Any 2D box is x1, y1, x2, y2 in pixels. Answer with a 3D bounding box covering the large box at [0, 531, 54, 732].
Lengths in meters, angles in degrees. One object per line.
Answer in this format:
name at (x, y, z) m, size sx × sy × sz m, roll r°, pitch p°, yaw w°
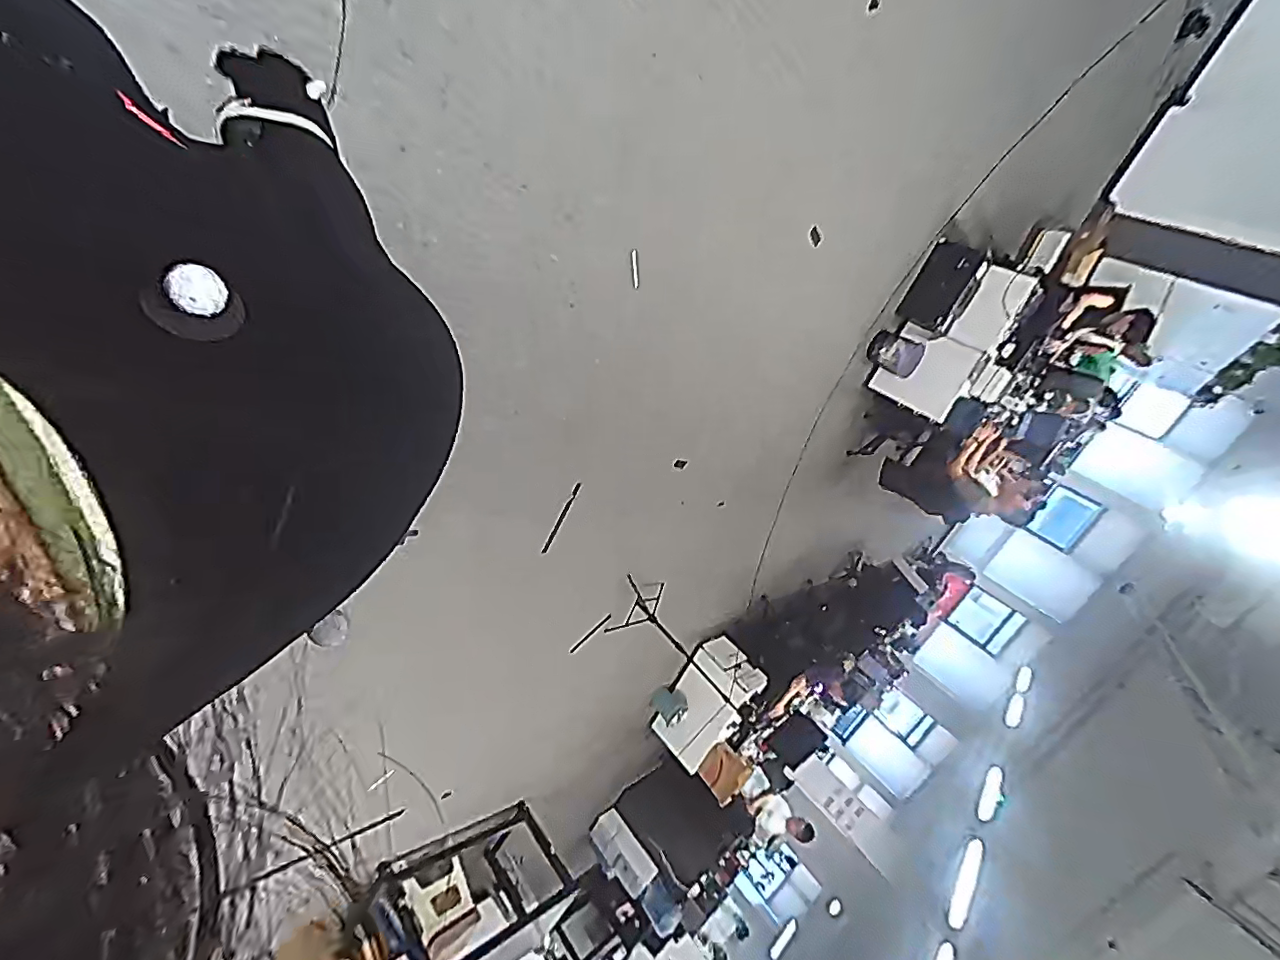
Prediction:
large box at (-1.458, 0.297, 1.029) m, size 0.408 × 0.320 × 0.320 m, roll 14°, pitch 112°, yaw -55°
